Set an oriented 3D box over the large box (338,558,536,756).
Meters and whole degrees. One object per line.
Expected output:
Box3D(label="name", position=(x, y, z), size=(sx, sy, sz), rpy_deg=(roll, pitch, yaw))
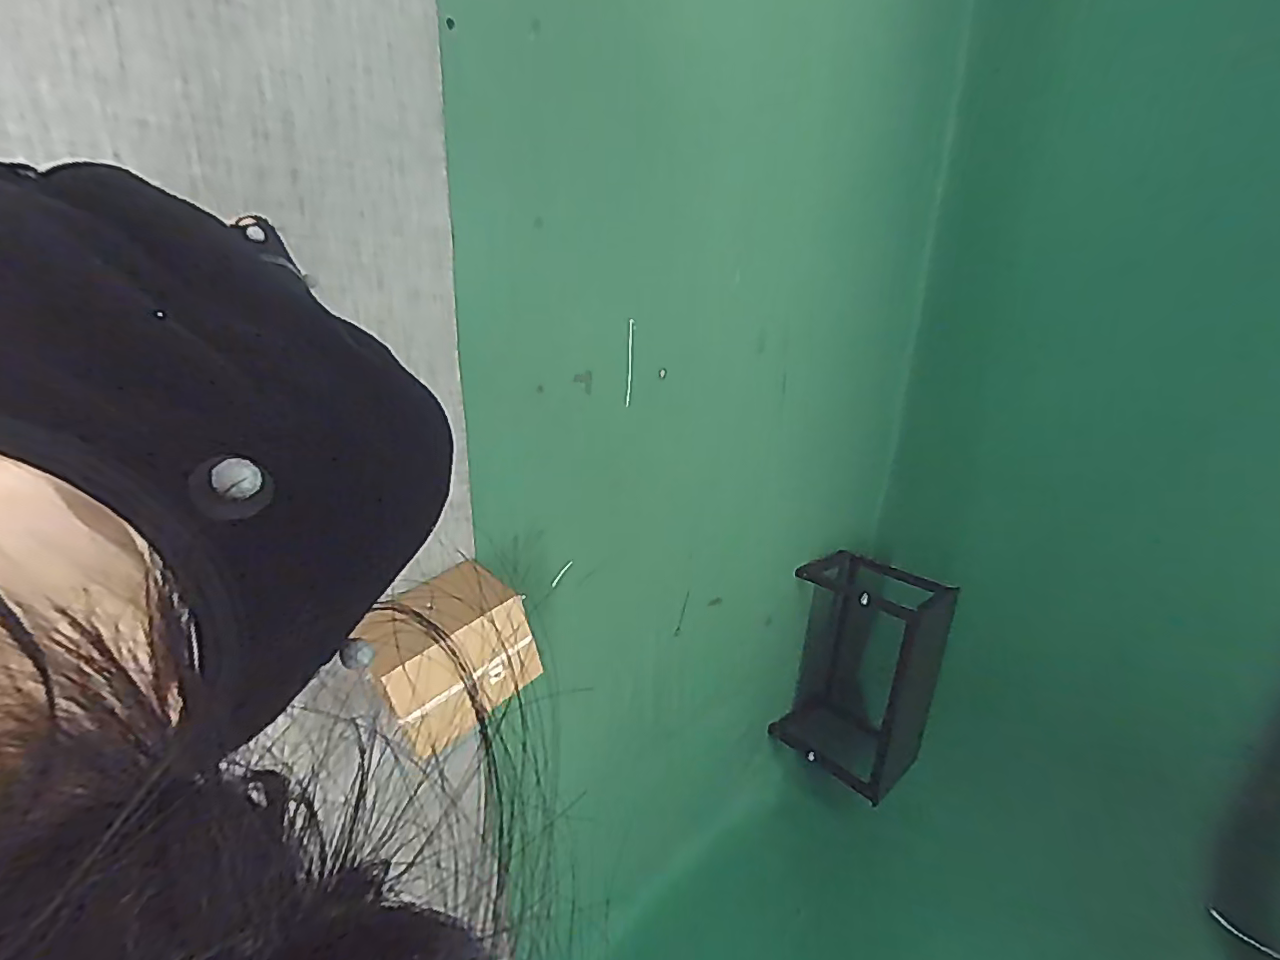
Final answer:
Box3D(label="large box", position=(-0.586, 0.492, 1.591), size=(0.408, 0.320, 0.320), rpy_deg=(-29, 124, -35))
